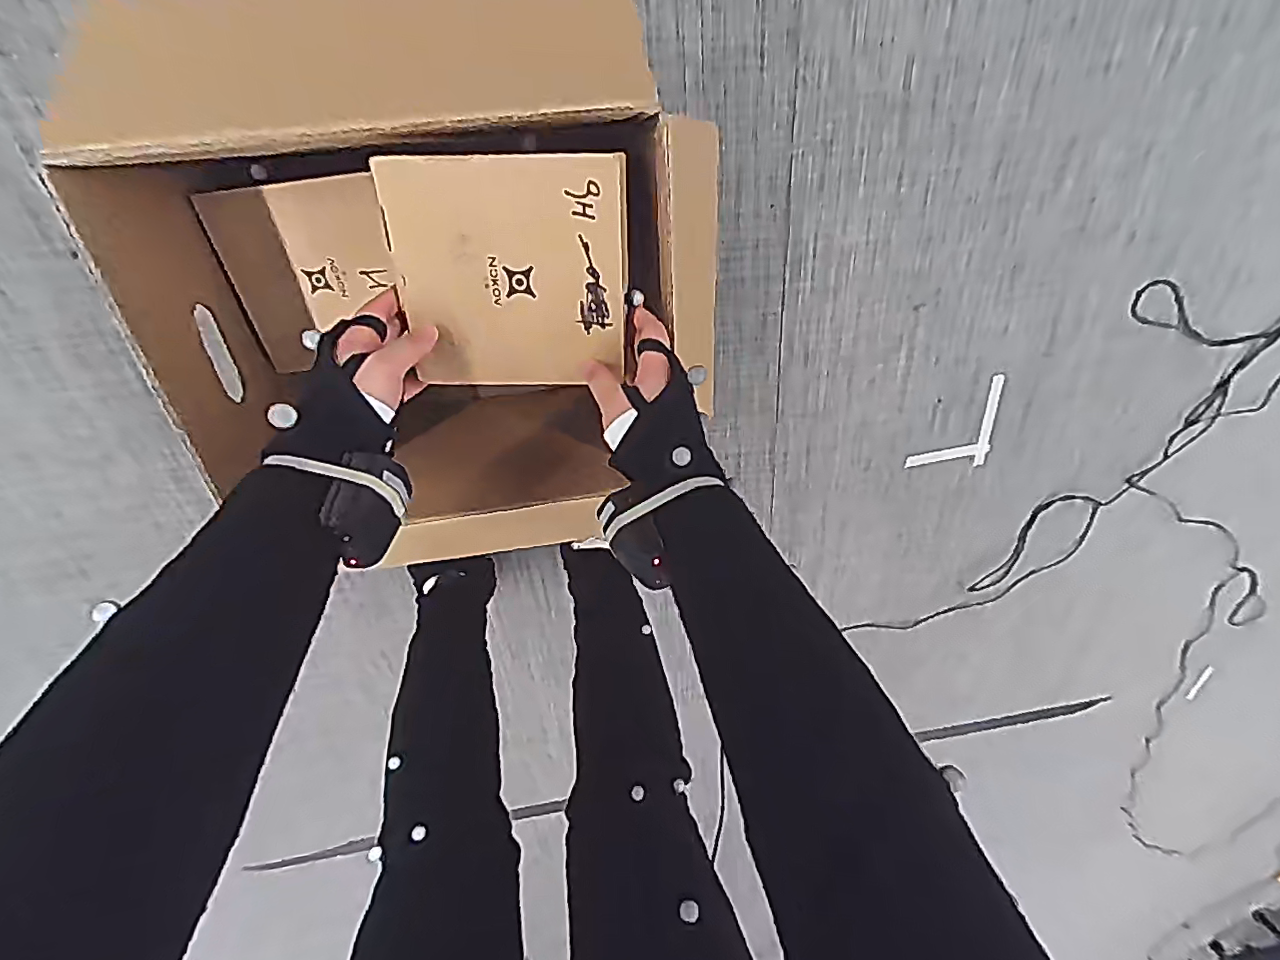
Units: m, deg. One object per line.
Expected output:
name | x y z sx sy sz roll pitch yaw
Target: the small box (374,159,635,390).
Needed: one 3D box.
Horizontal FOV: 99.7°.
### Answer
small box | -0.098 -0.190 0.485 0.179 0.176 0.168 1 122 3
